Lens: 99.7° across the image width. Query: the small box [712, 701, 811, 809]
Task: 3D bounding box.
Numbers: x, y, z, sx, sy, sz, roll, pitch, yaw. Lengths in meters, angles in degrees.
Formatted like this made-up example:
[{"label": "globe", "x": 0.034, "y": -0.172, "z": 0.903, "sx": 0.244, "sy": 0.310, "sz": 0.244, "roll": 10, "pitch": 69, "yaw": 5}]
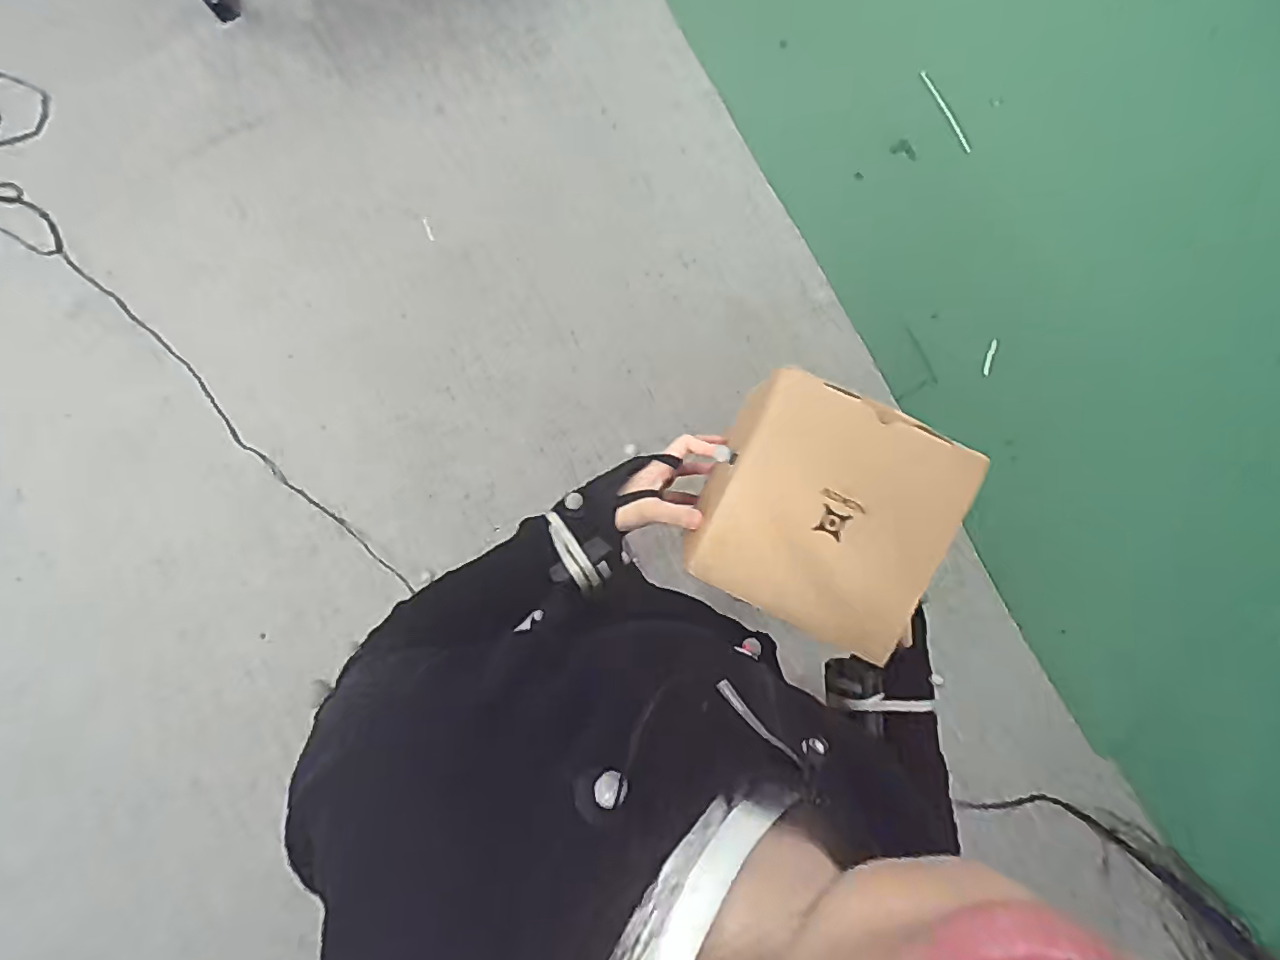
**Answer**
[{"label": "small box", "x": 0.305, "y": 0.695, "z": 1.397, "sx": 0.168, "sy": 0.176, "sz": 0.179, "roll": -26, "pitch": 85, "yaw": -6}]
